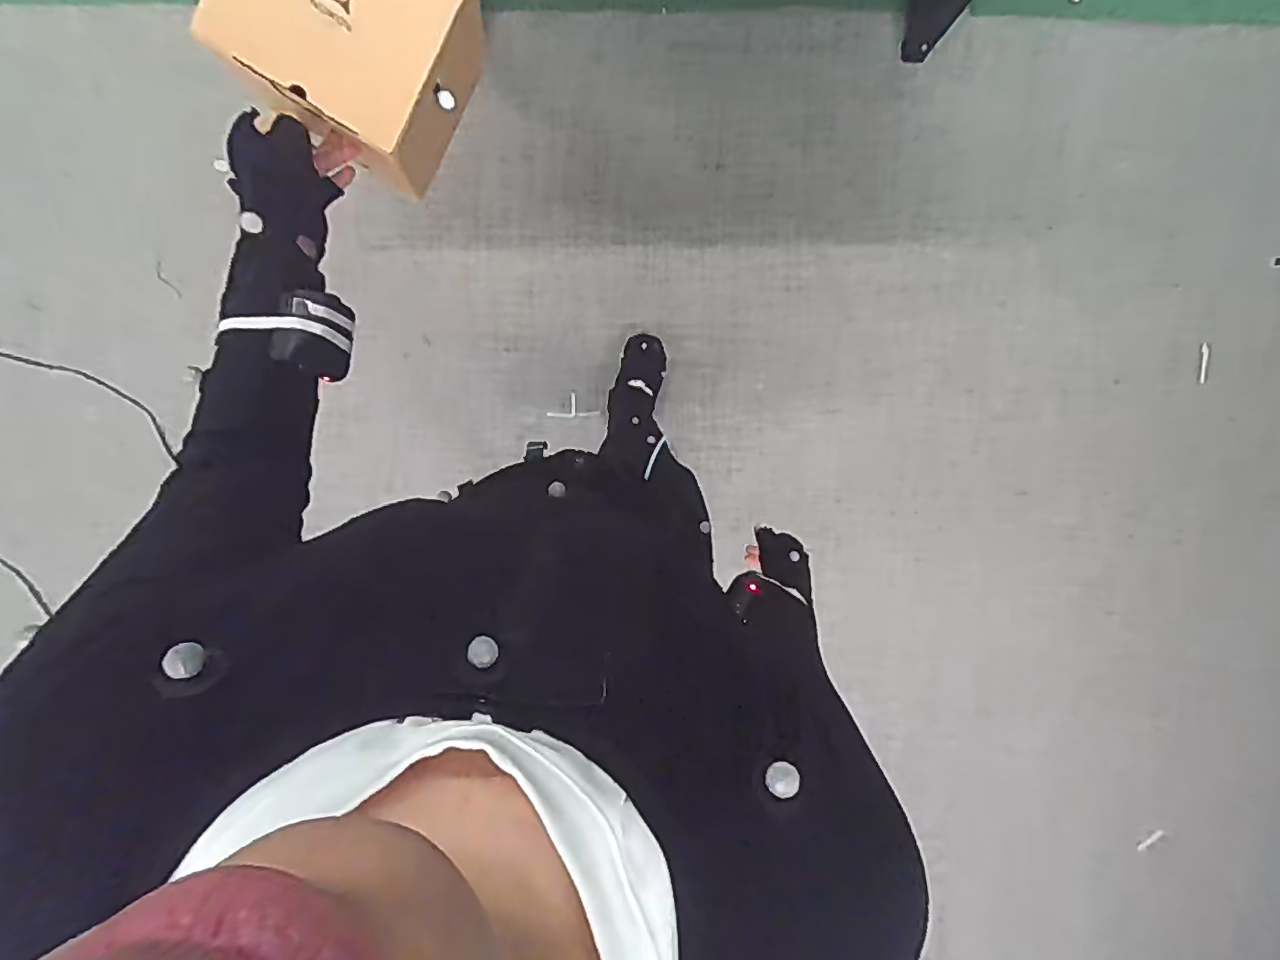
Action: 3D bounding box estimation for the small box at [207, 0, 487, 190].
[{"bbox_3d":[-0.263,-0.425,0.529,0.168,0.176,0.179,27,98,-19],"label":"small box"}]
